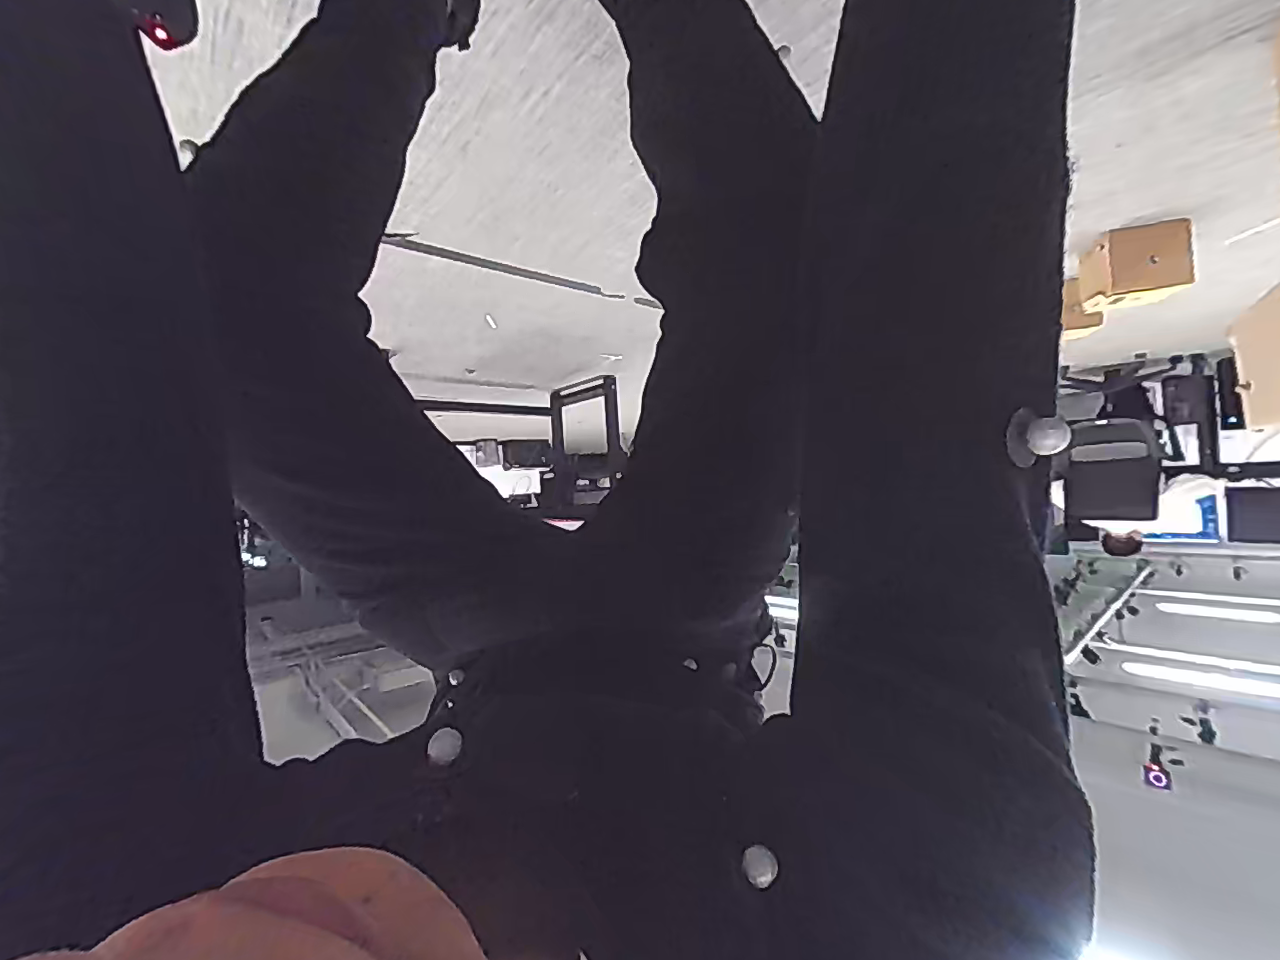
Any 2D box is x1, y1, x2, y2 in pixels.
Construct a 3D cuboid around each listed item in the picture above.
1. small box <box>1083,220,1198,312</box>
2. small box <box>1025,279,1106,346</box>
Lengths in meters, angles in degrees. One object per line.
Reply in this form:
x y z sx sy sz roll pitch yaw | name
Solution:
1.328 -0.568 1.449 0.179 0.176 0.168 -4 179 17 | small box
1.433 -0.568 1.831 0.179 0.176 0.168 -5 178 24 | small box
